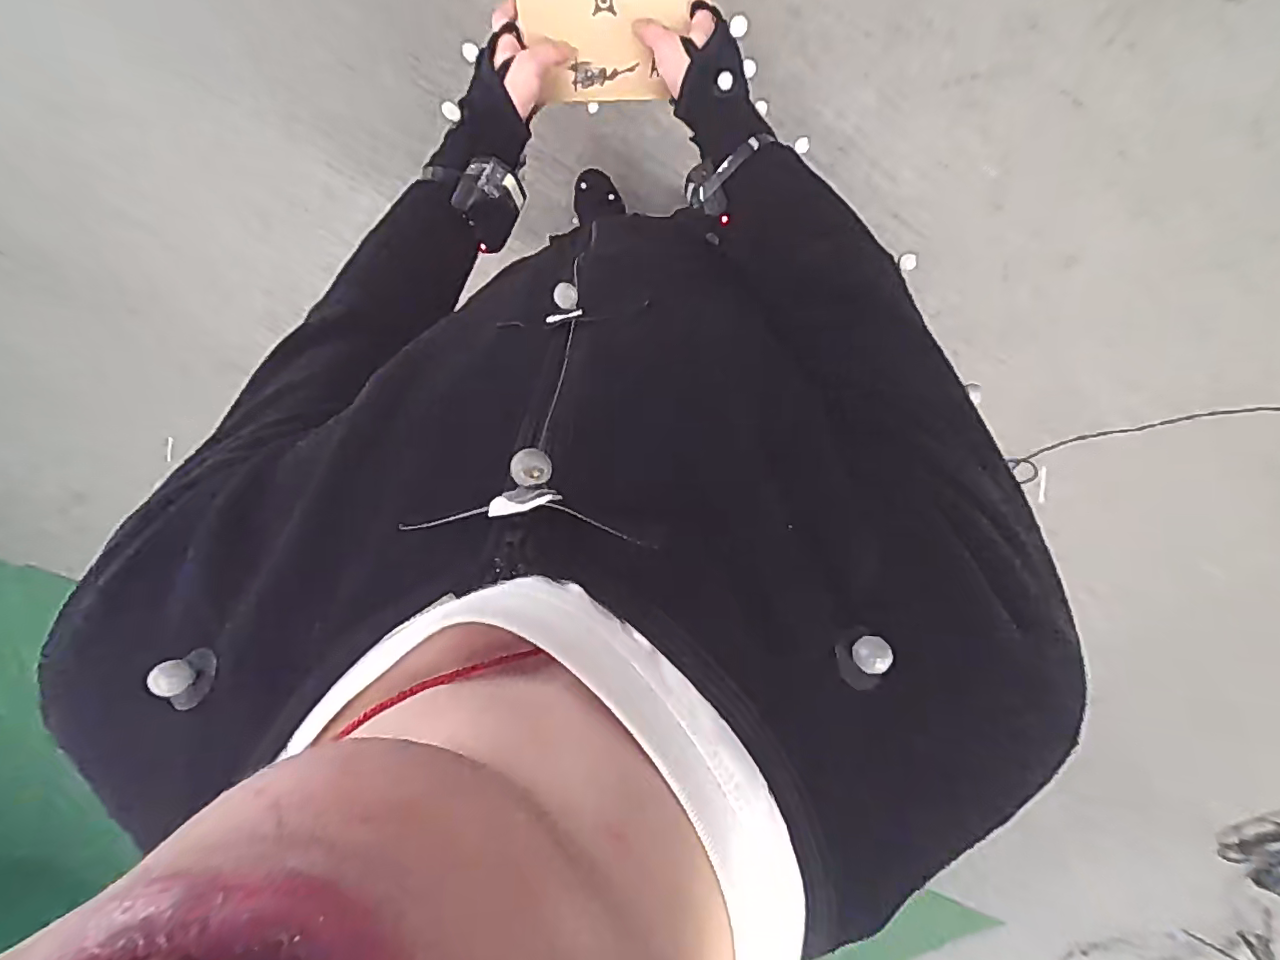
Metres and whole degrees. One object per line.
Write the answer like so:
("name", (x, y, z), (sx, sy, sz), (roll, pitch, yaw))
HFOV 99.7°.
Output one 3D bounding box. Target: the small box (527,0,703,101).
("small box", (-0.025, -0.505, 0.552), (0.168, 0.176, 0.179), (-1, 132, 1))
